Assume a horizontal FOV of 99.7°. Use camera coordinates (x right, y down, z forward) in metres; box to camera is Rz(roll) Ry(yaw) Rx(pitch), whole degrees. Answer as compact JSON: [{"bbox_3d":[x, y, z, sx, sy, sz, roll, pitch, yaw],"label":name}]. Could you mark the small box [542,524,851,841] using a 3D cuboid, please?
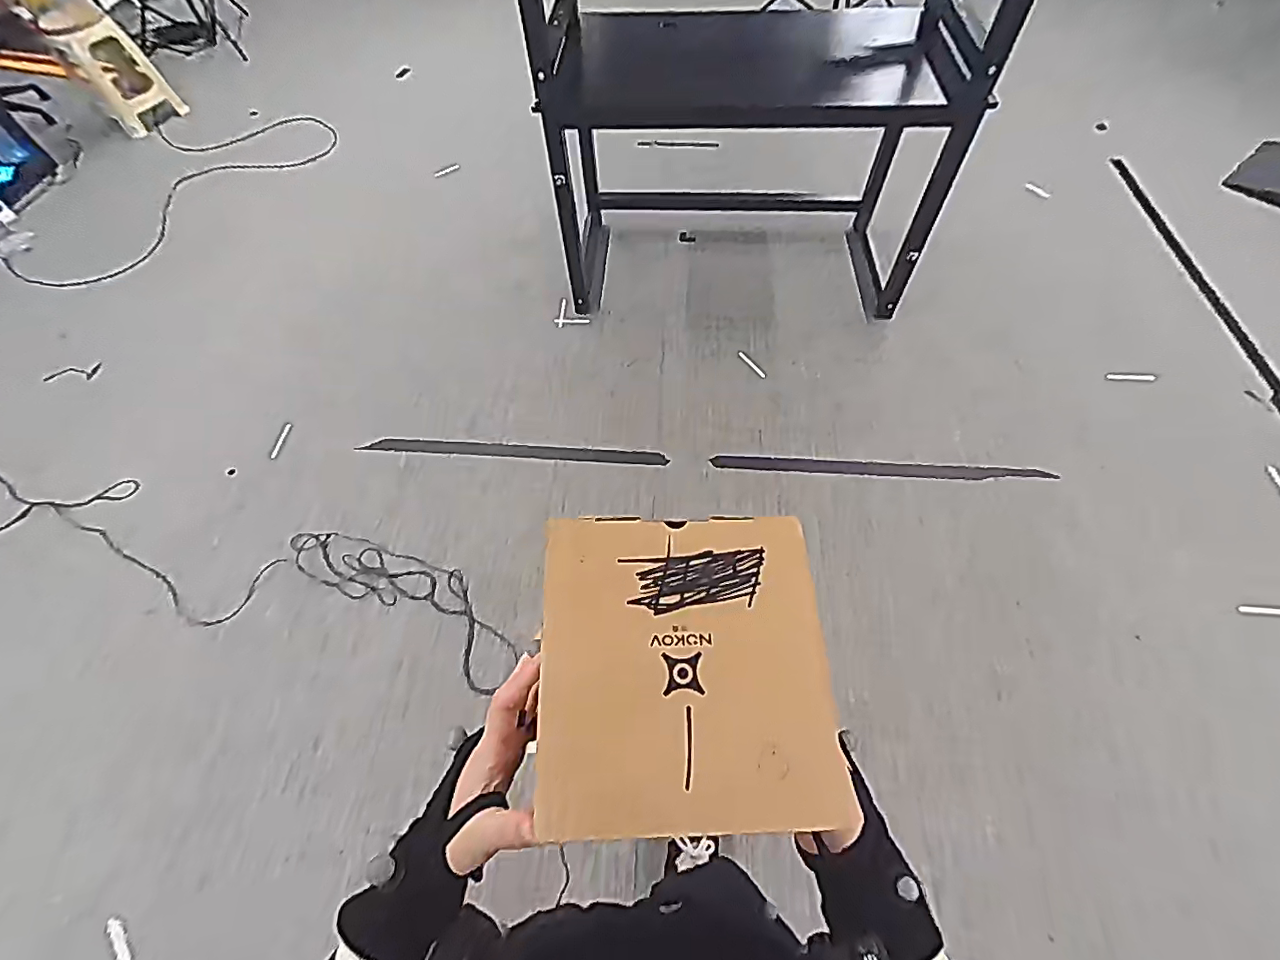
[{"bbox_3d":[0.024,0.143,0.388,0.168,0.176,0.179,0,64,-3],"label":"small box"}]
